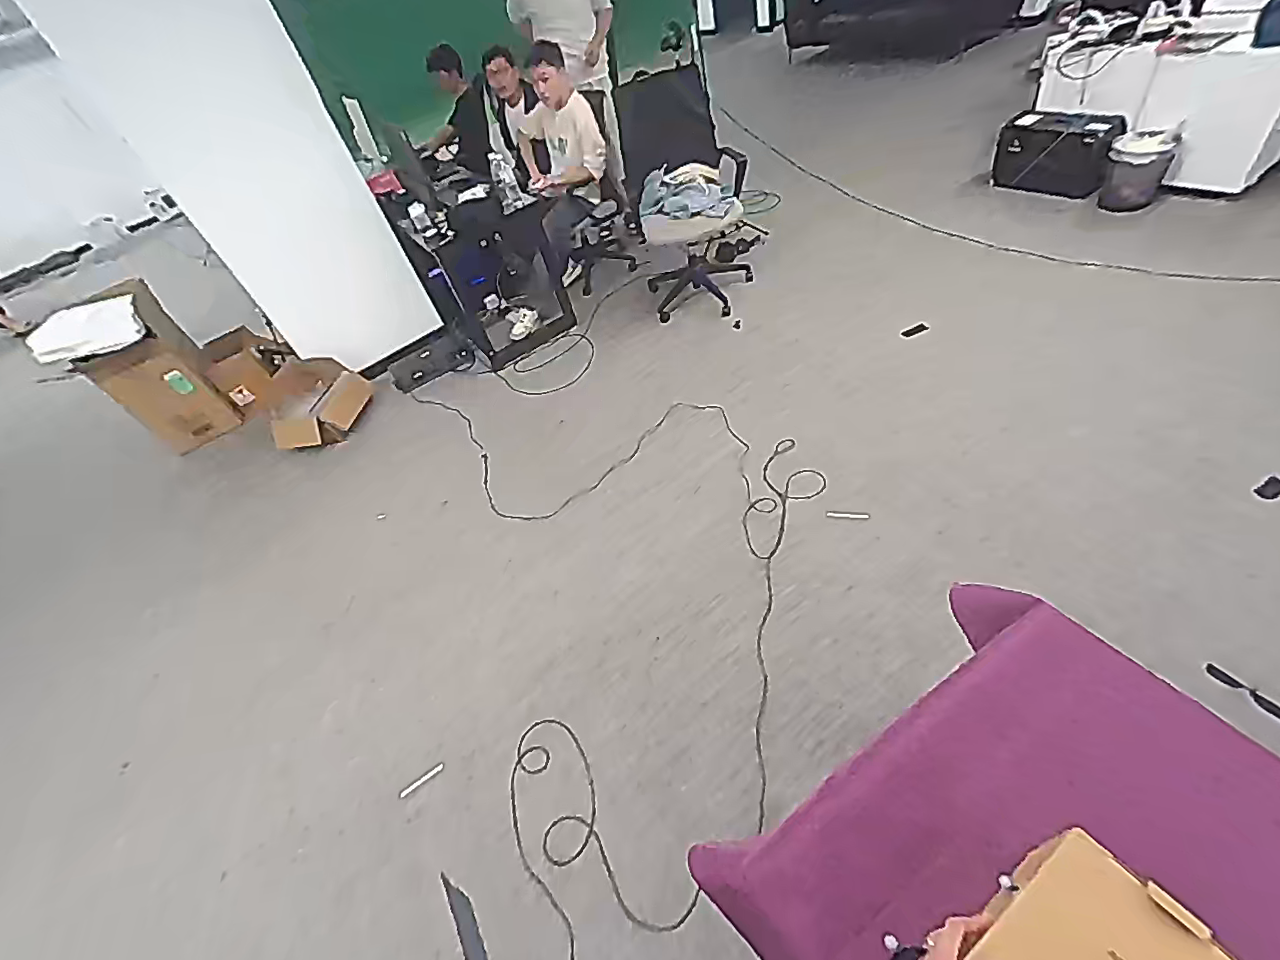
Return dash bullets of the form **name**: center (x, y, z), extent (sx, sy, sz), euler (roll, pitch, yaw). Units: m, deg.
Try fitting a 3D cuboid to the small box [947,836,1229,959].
- **small box**: center (0.421, 0.482, 0.507), extent (0.179, 0.176, 0.168), euler (-34, 47, -14)
